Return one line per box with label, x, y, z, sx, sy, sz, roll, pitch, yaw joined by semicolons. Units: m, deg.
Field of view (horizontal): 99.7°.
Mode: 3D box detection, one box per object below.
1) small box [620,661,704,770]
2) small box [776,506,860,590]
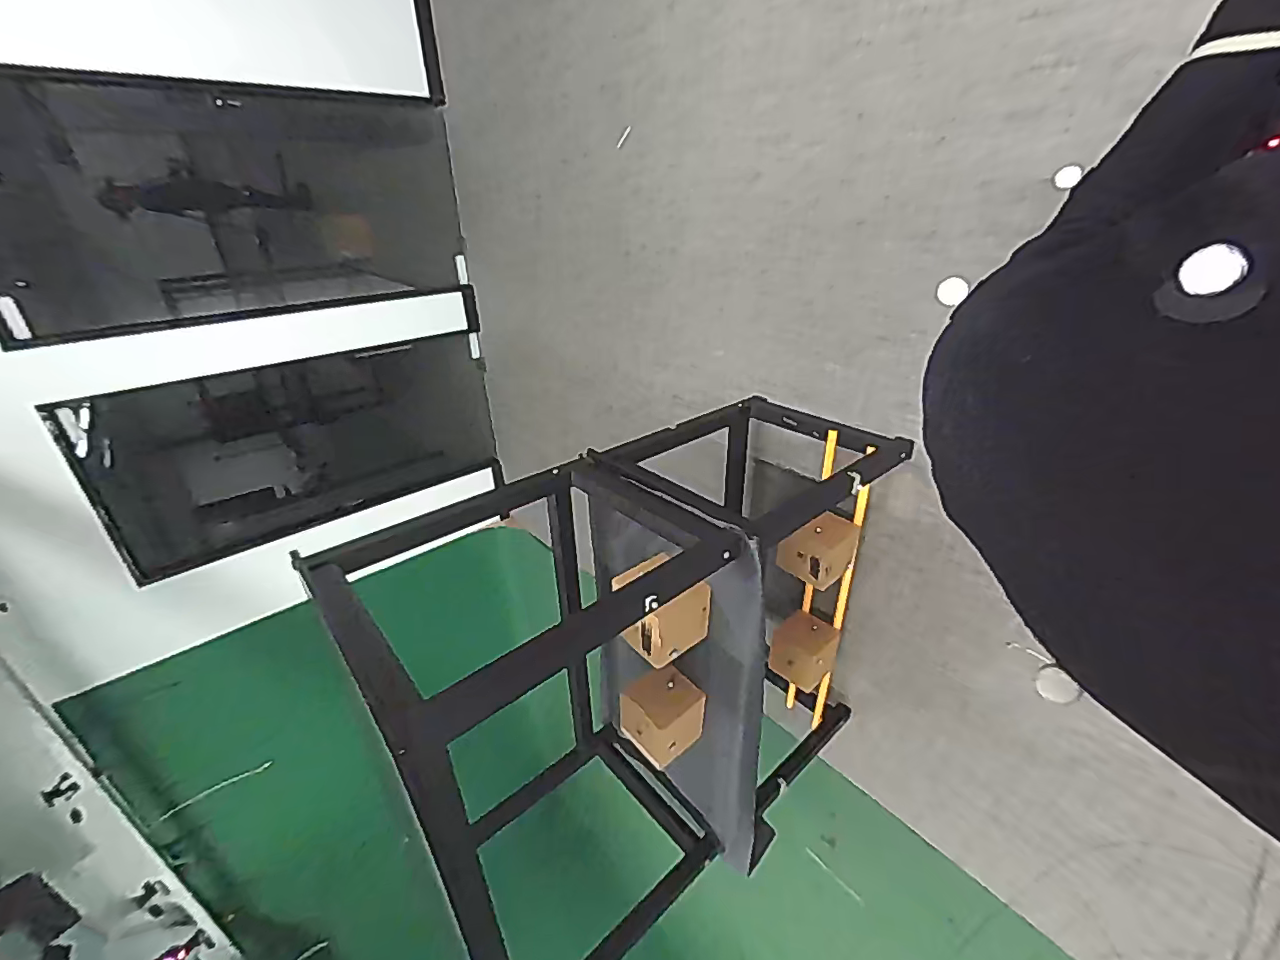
small box;0.060;0.643;1.492;0.168;0.176;0.179;31;131;40
small box;0.553;0.203;1.681;0.179;0.176;0.168;31;131;40
